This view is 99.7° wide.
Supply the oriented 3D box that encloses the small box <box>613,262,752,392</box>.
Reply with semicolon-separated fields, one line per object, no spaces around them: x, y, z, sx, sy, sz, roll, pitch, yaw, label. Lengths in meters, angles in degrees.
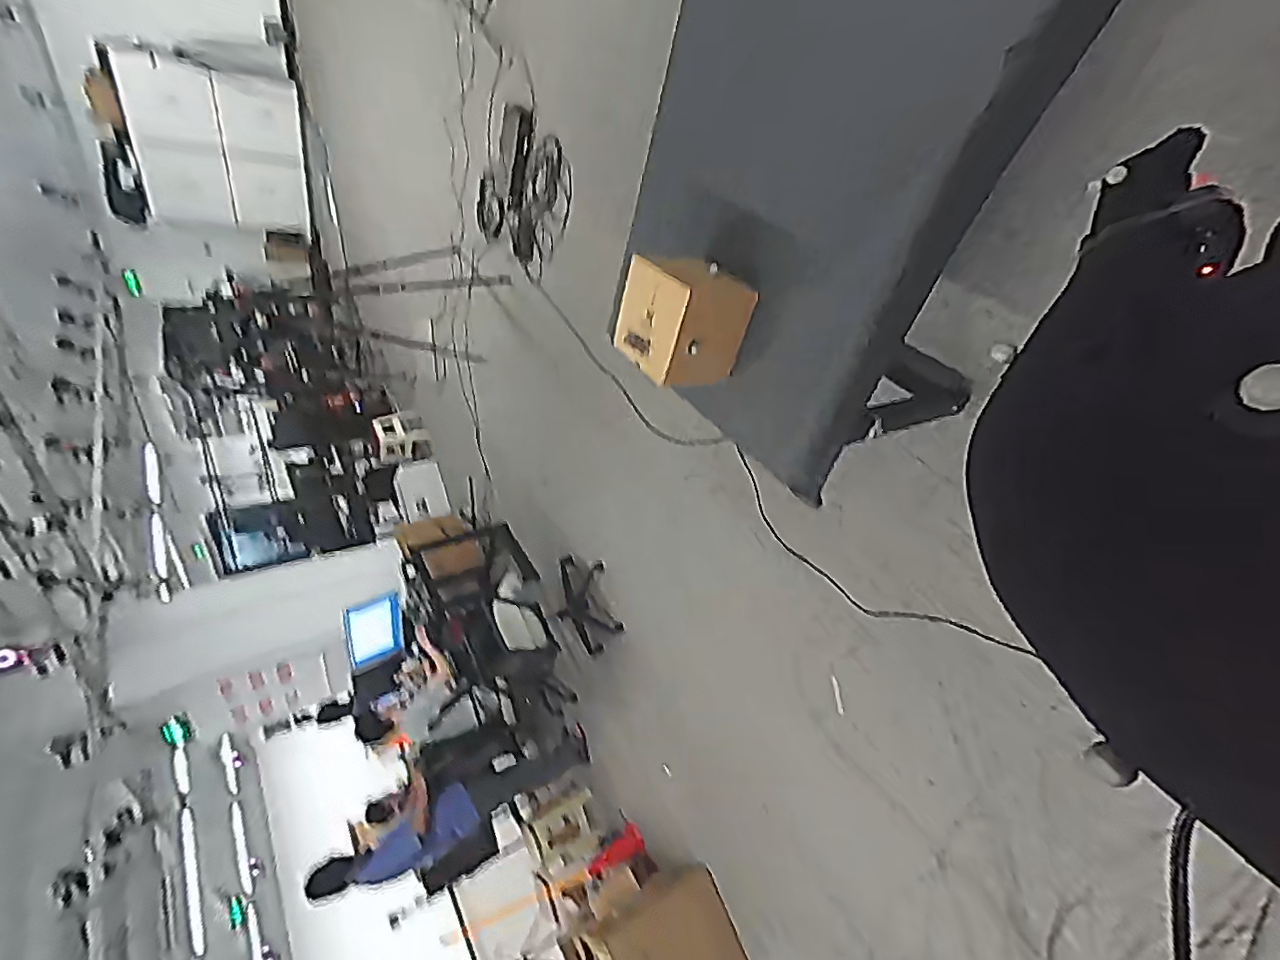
0.077;-0.284;0.998;0.168;0.176;0.179;46;134;35;small box
